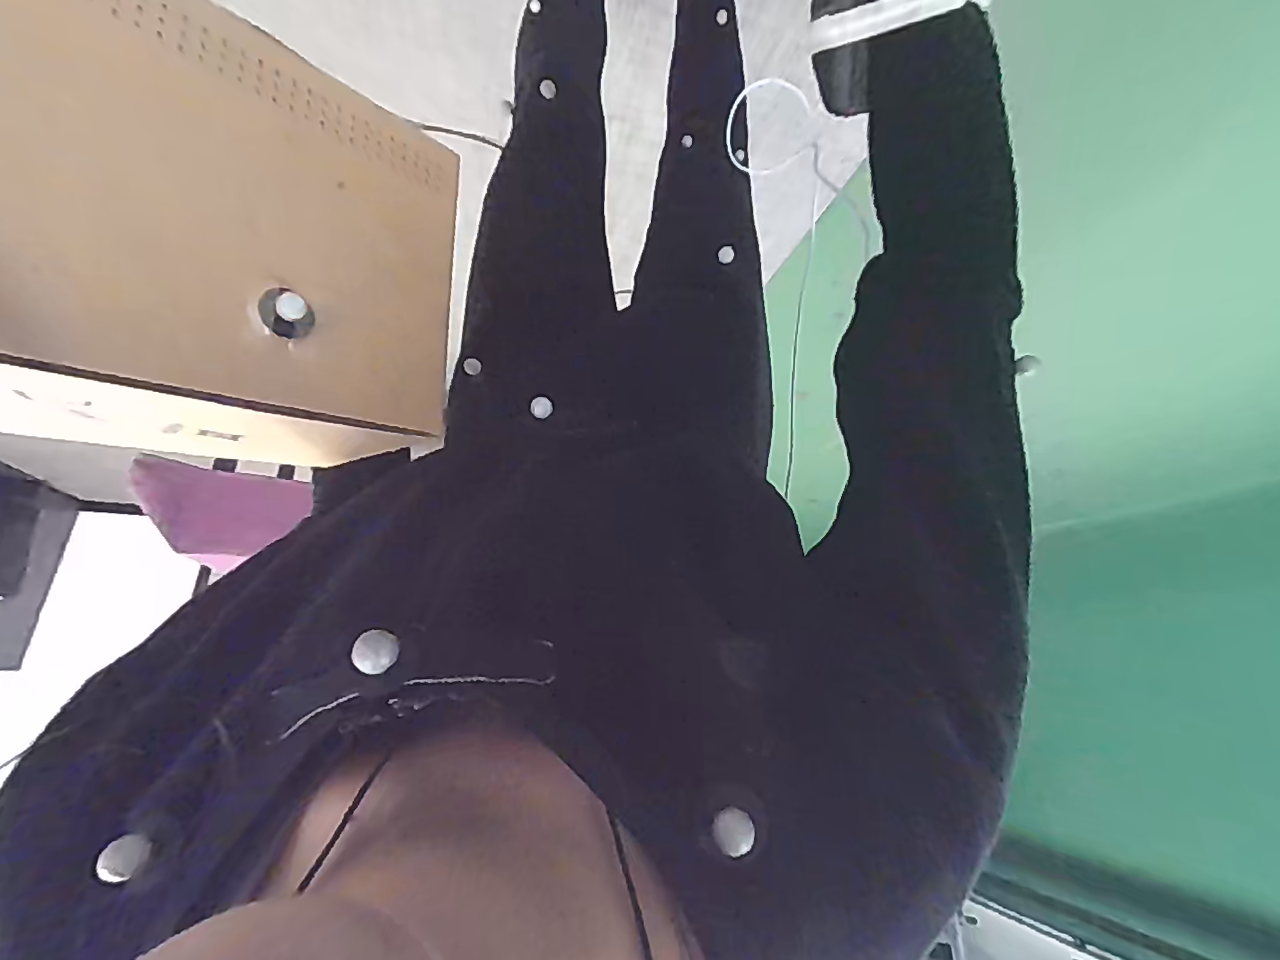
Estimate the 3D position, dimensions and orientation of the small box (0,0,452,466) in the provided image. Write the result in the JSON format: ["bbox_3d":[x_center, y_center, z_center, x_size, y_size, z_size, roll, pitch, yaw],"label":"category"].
[{"bbox_3d":[-0.215,-0.108,0.277,0.168,0.176,0.179,-7,168,40],"label":"small box"}]
